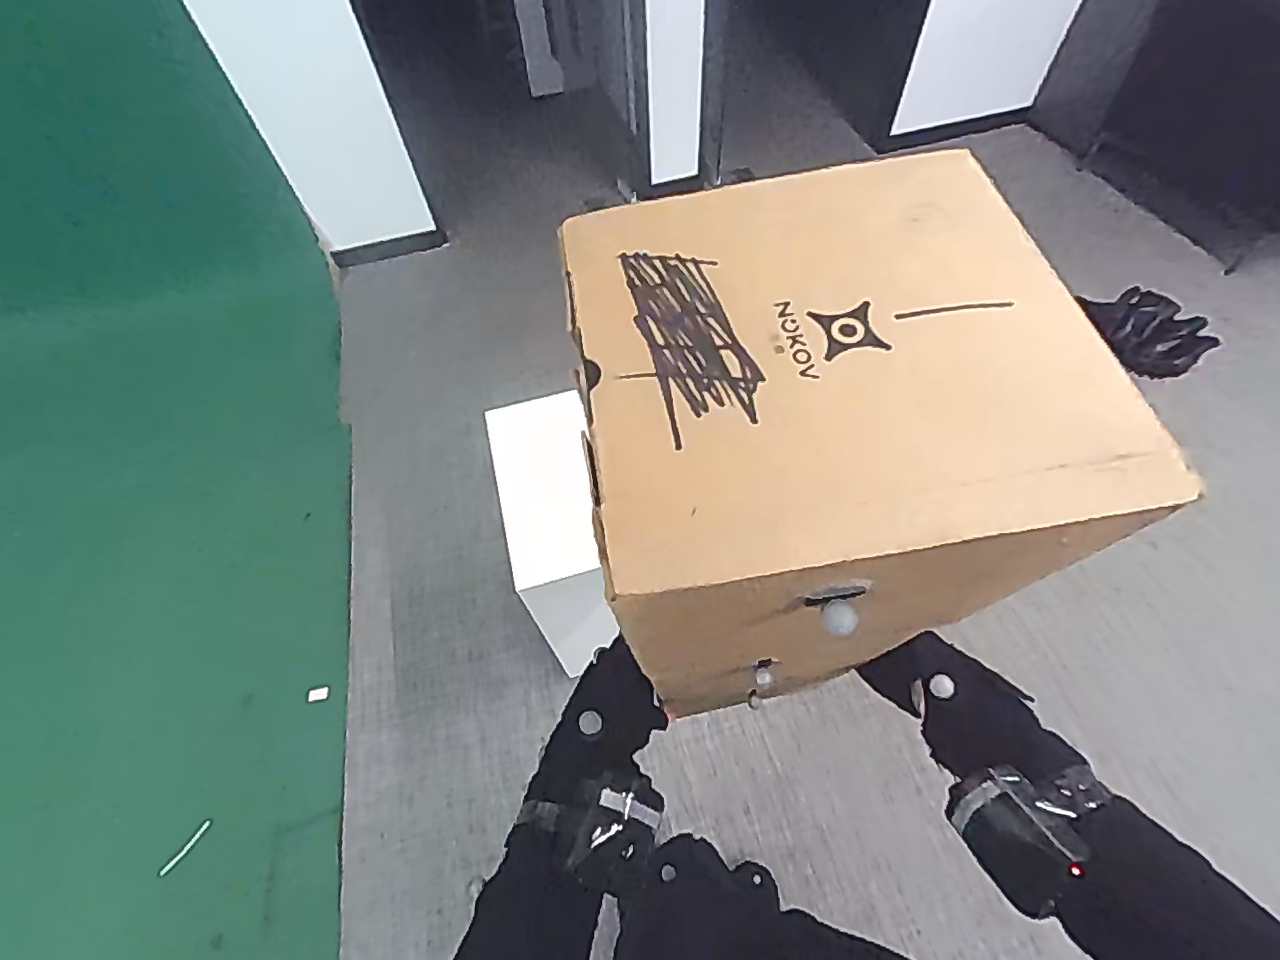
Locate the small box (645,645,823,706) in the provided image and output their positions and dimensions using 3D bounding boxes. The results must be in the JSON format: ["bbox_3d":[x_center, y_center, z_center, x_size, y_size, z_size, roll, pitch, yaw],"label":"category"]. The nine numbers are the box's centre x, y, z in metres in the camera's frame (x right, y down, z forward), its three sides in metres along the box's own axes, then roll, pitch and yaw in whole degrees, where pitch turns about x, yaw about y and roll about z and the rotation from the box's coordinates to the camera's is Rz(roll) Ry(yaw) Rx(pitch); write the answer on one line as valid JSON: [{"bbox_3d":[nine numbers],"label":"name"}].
[{"bbox_3d":[0.088,0.130,0.568,0.179,0.176,0.168,-12,63,-3],"label":"small box"}]

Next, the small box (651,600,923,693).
[{"bbox_3d":[0.077,0.053,0.426,0.168,0.176,0.179,-12,63,-2],"label":"small box"}]

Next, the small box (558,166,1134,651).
[{"bbox_3d":[0.066,-0.019,0.276,0.179,0.176,0.168,-9,63,0],"label":"small box"}]
